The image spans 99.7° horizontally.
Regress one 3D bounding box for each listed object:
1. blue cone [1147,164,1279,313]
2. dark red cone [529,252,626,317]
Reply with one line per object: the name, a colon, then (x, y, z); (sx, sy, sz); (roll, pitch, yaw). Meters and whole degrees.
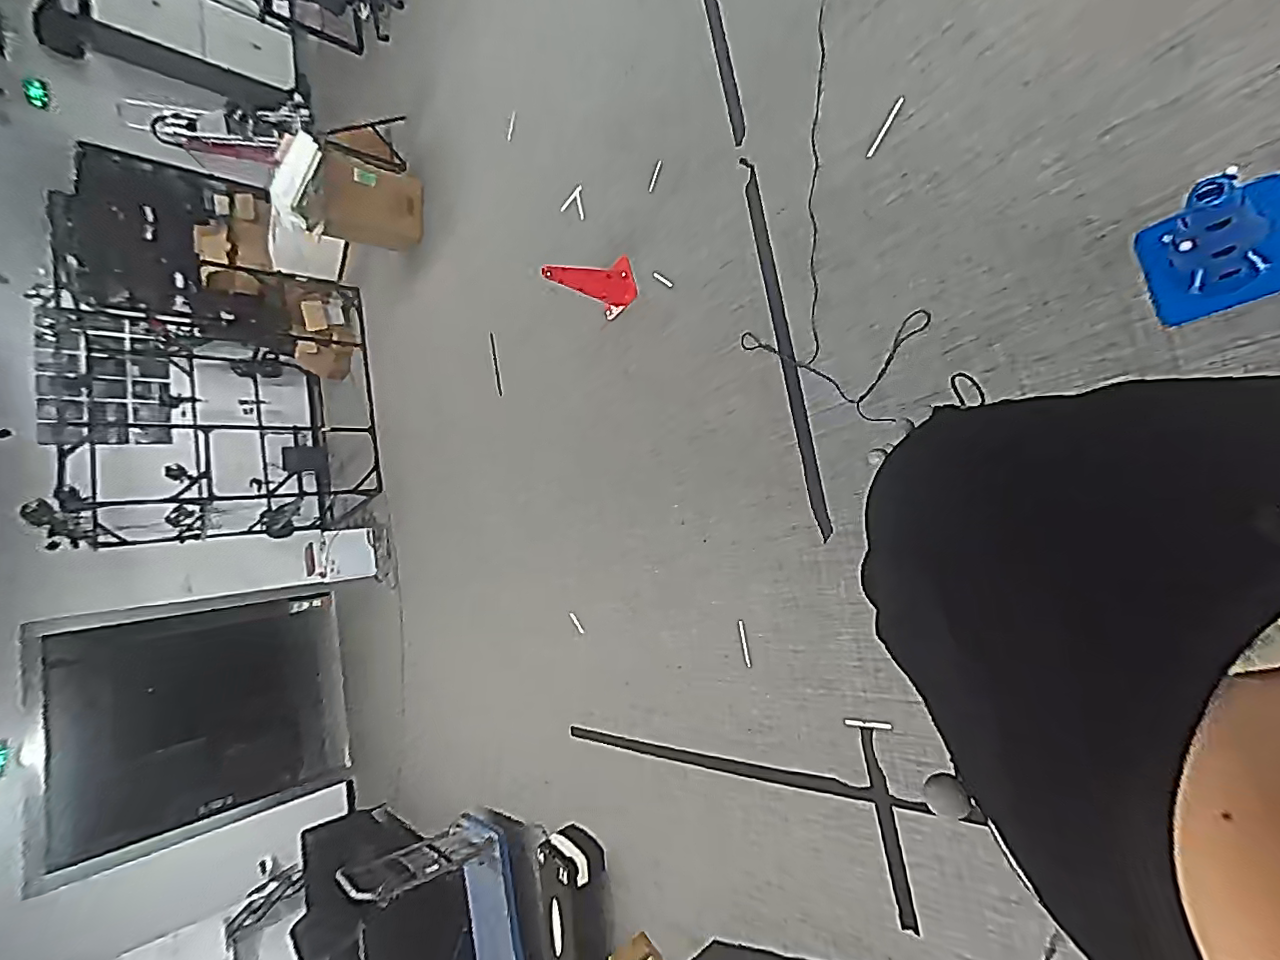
blue cone: (0.898, -0.397, 0.828); (0.192, 0.380, 0.193); (-18, 79, 48)
dark red cone: (-0.251, -0.789, 2.102); (0.201, 0.394, 0.202); (-30, 70, 45)
